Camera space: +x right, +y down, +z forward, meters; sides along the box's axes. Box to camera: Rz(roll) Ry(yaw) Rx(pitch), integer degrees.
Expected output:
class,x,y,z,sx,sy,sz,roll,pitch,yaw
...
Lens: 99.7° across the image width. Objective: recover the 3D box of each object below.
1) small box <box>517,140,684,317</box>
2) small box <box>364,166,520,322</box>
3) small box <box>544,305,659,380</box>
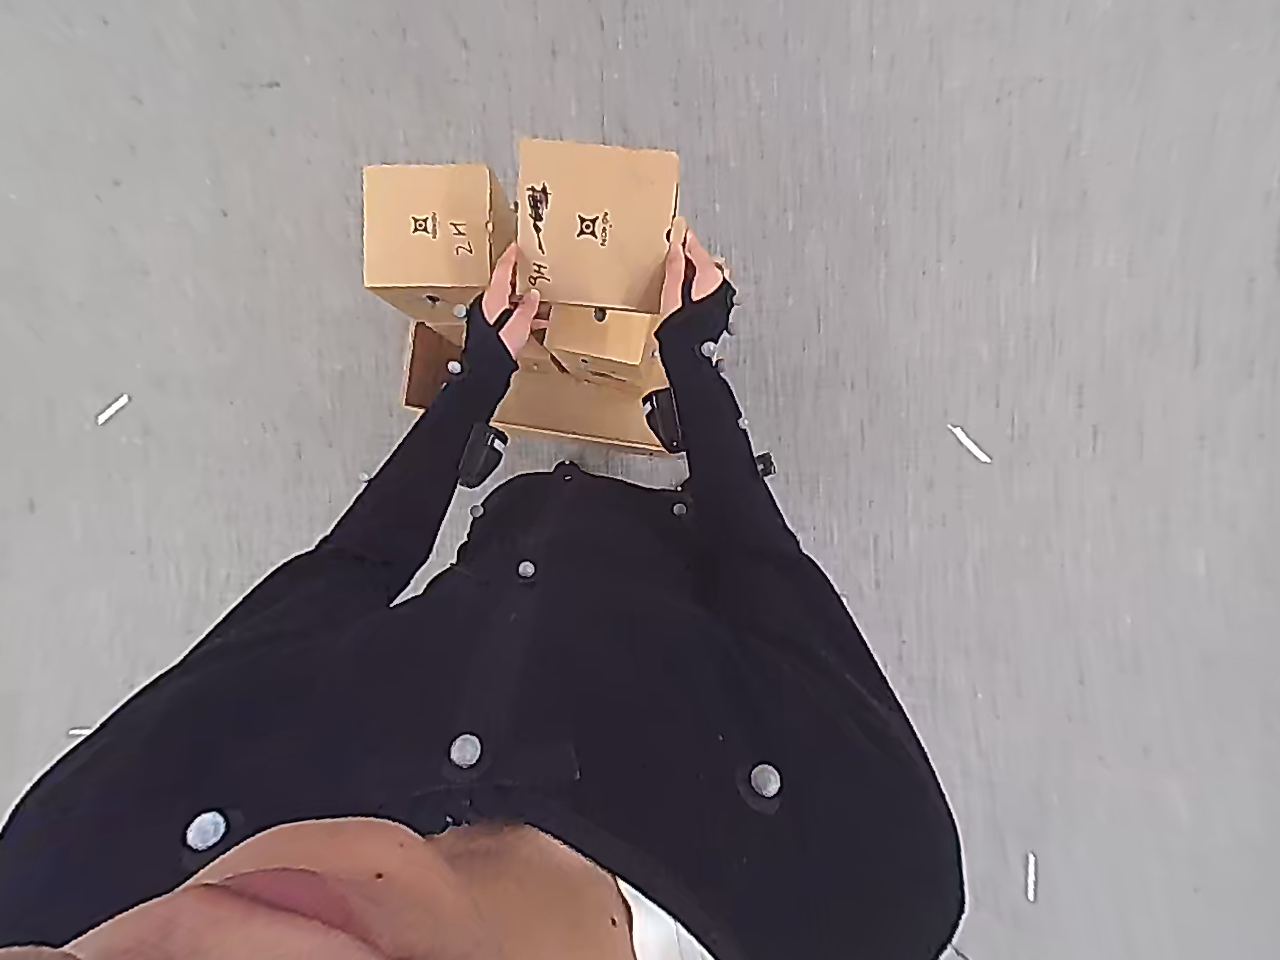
class,x,y,z,sx,sy,sz,roll,pitch,yaw
small box,-0.047,-0.298,0.673,0.179,0.176,0.168,6,106,-1
small box,-0.284,-0.340,0.807,0.179,0.176,0.168,1,91,0
small box,-0.057,-0.287,0.966,0.168,0.176,0.179,13,91,3
